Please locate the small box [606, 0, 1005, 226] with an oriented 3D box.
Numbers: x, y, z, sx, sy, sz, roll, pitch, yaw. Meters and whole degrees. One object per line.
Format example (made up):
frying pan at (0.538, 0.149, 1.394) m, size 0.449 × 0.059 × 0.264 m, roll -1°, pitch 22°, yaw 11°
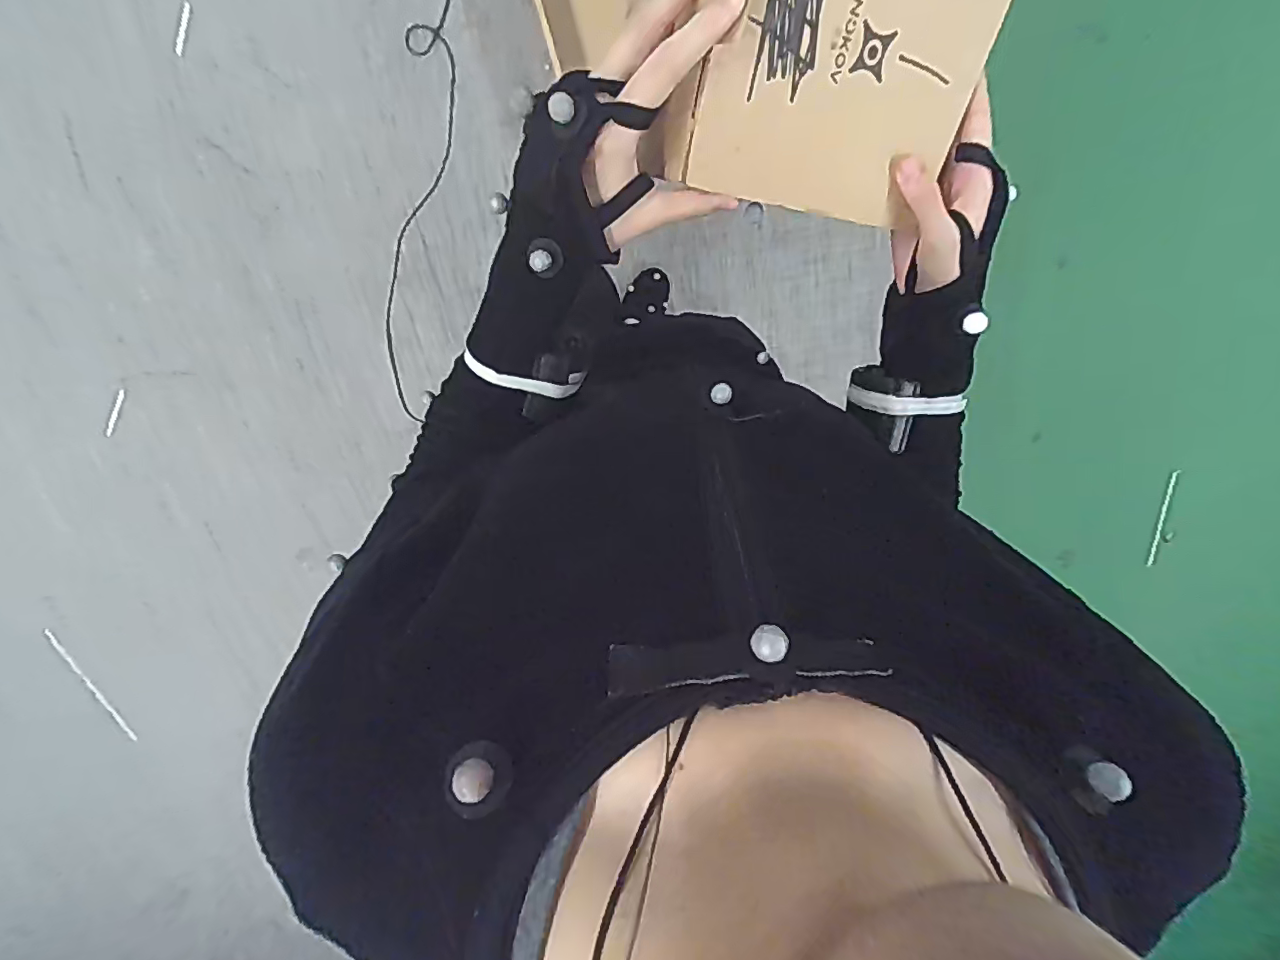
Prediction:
small box at (0.089, -0.277, 0.347) m, size 0.179 × 0.176 × 0.168 m, roll 0°, pitch 122°, yaw -23°
